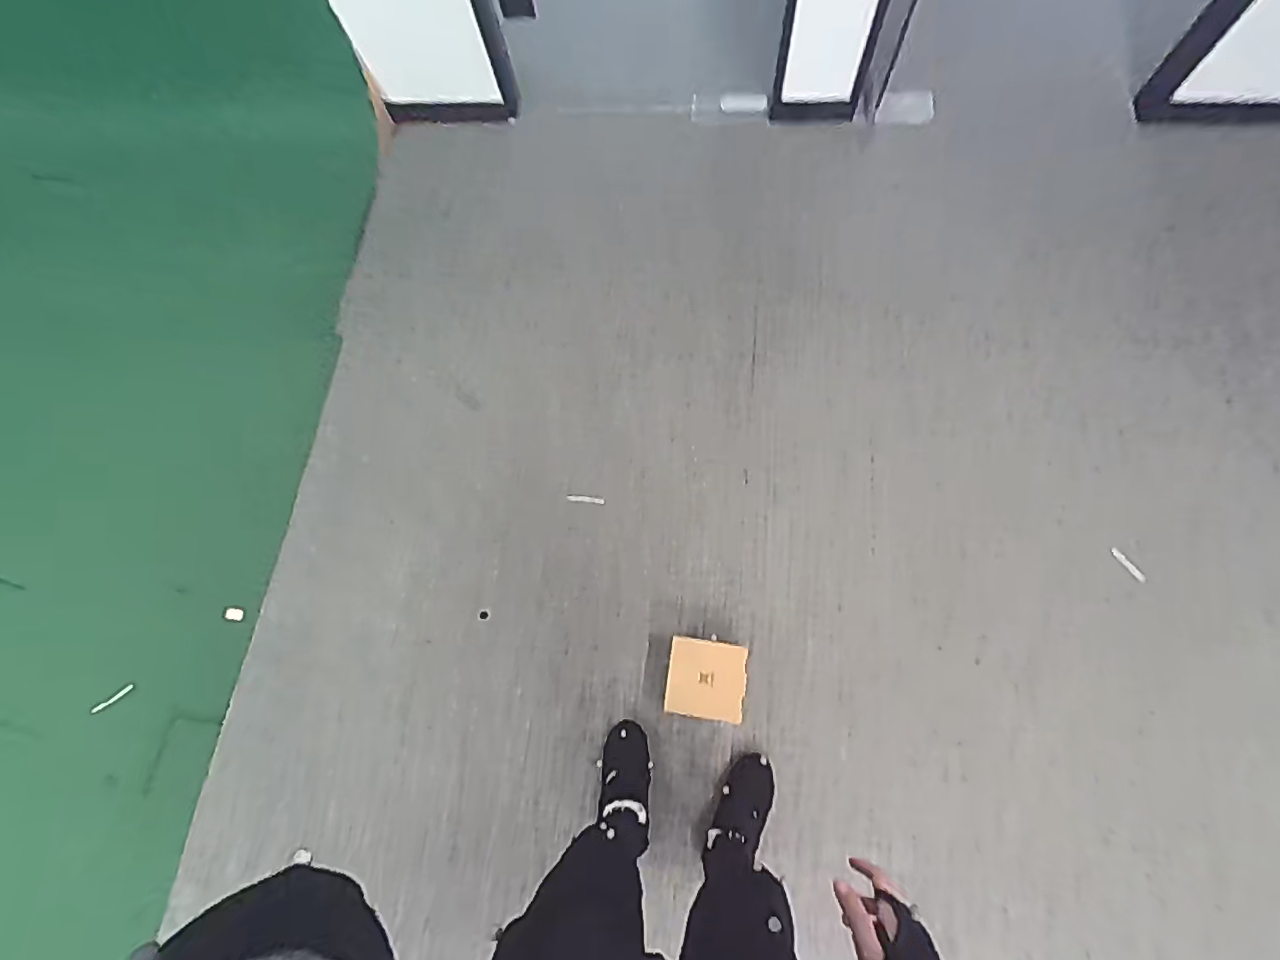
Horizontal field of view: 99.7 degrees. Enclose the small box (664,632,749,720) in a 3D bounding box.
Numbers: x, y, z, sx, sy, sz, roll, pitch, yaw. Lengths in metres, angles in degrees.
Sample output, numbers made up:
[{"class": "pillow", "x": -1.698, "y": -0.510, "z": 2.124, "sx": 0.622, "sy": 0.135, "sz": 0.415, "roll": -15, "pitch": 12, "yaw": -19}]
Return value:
[{"class": "small box", "x": 0.156, "y": 0.464, "z": 1.289, "sx": 0.179, "sy": 0.176, "sz": 0.168, "roll": 7, "pitch": 73, "yaw": 7}]
